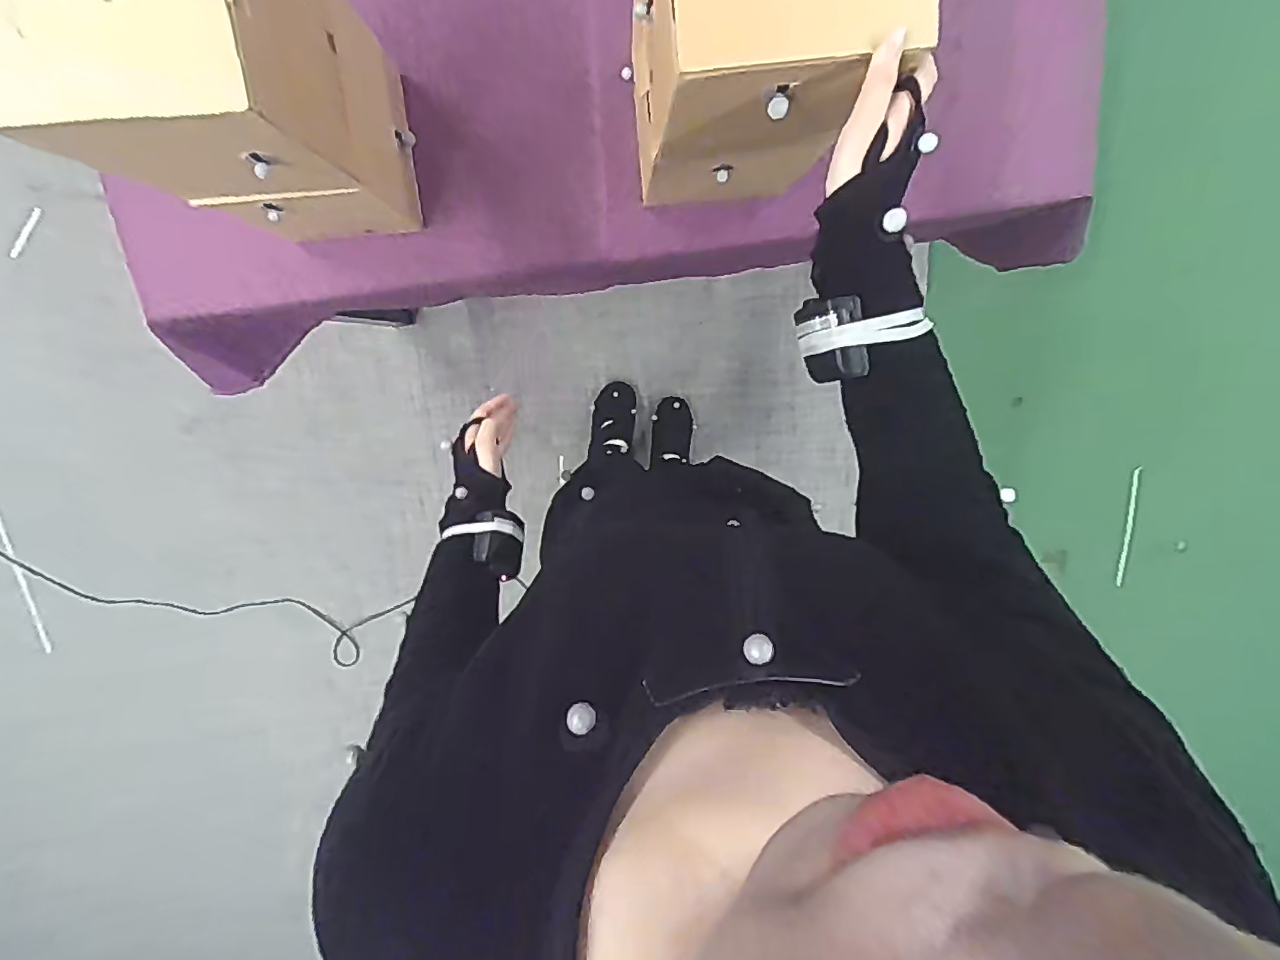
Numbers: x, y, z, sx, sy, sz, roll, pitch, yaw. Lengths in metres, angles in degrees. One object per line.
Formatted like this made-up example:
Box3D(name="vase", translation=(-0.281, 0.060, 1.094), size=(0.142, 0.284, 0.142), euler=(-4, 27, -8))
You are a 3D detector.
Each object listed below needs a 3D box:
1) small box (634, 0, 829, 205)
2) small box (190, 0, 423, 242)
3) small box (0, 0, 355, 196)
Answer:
Box3D(name="small box", translation=(0.085, -0.407, 0.575), size=(0.179, 0.176, 0.168), euler=(-6, 104, -1))
Box3D(name="small box", translation=(-0.349, -0.366, 0.568), size=(0.168, 0.176, 0.179), euler=(-5, 103, 0))
Box3D(name="small box", translation=(-0.342, -0.328, 0.409), size=(0.179, 0.176, 0.168), euler=(-4, 103, -1))
